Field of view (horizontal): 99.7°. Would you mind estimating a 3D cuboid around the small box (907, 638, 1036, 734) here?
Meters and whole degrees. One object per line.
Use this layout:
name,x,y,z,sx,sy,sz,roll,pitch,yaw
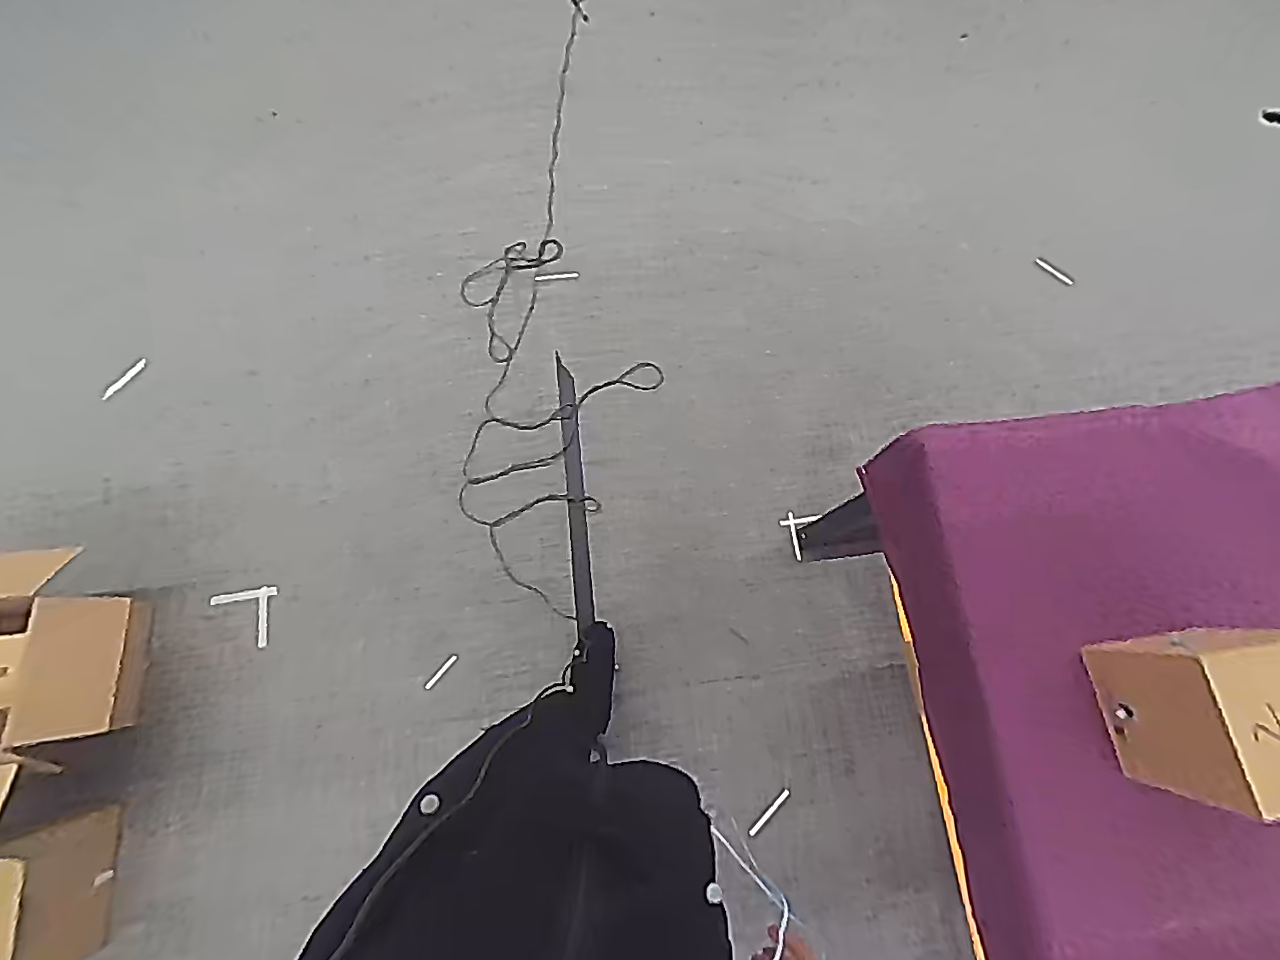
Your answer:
small box,0.746,0.463,1.238,0.168,0.176,0.179,-8,75,-3
